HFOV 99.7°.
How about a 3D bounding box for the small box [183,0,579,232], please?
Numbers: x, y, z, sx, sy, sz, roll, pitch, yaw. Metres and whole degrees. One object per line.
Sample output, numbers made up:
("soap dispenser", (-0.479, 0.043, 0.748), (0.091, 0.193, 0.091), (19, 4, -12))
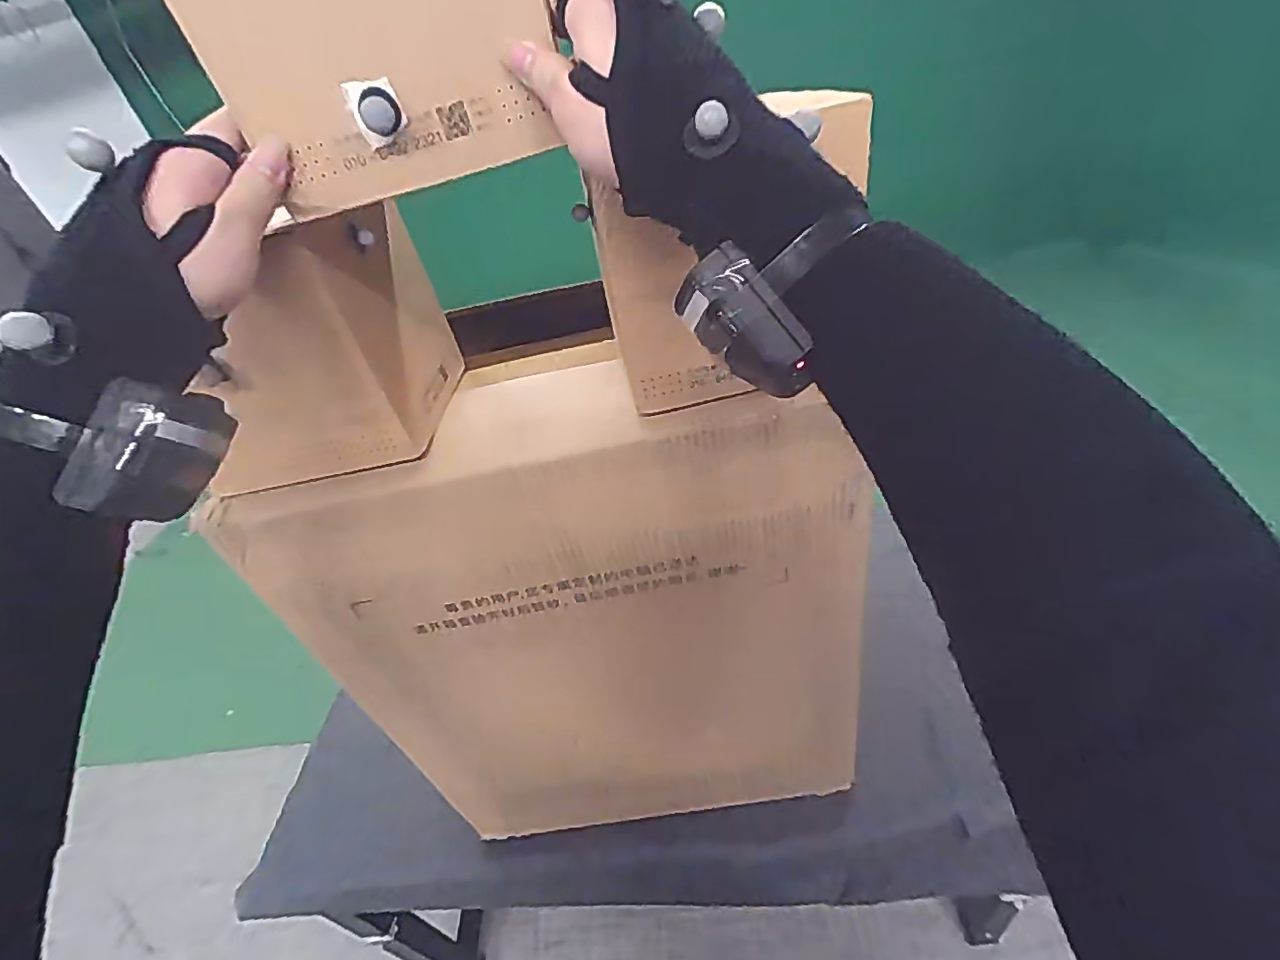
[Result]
("small box", (-0.139, -0.265, 0.322), (0.168, 0.176, 0.179), (-16, 36, 3))

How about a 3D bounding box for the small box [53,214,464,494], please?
("small box", (-0.273, -0.108, 0.441), (0.179, 0.176, 0.168), (-12, 37, 5))
